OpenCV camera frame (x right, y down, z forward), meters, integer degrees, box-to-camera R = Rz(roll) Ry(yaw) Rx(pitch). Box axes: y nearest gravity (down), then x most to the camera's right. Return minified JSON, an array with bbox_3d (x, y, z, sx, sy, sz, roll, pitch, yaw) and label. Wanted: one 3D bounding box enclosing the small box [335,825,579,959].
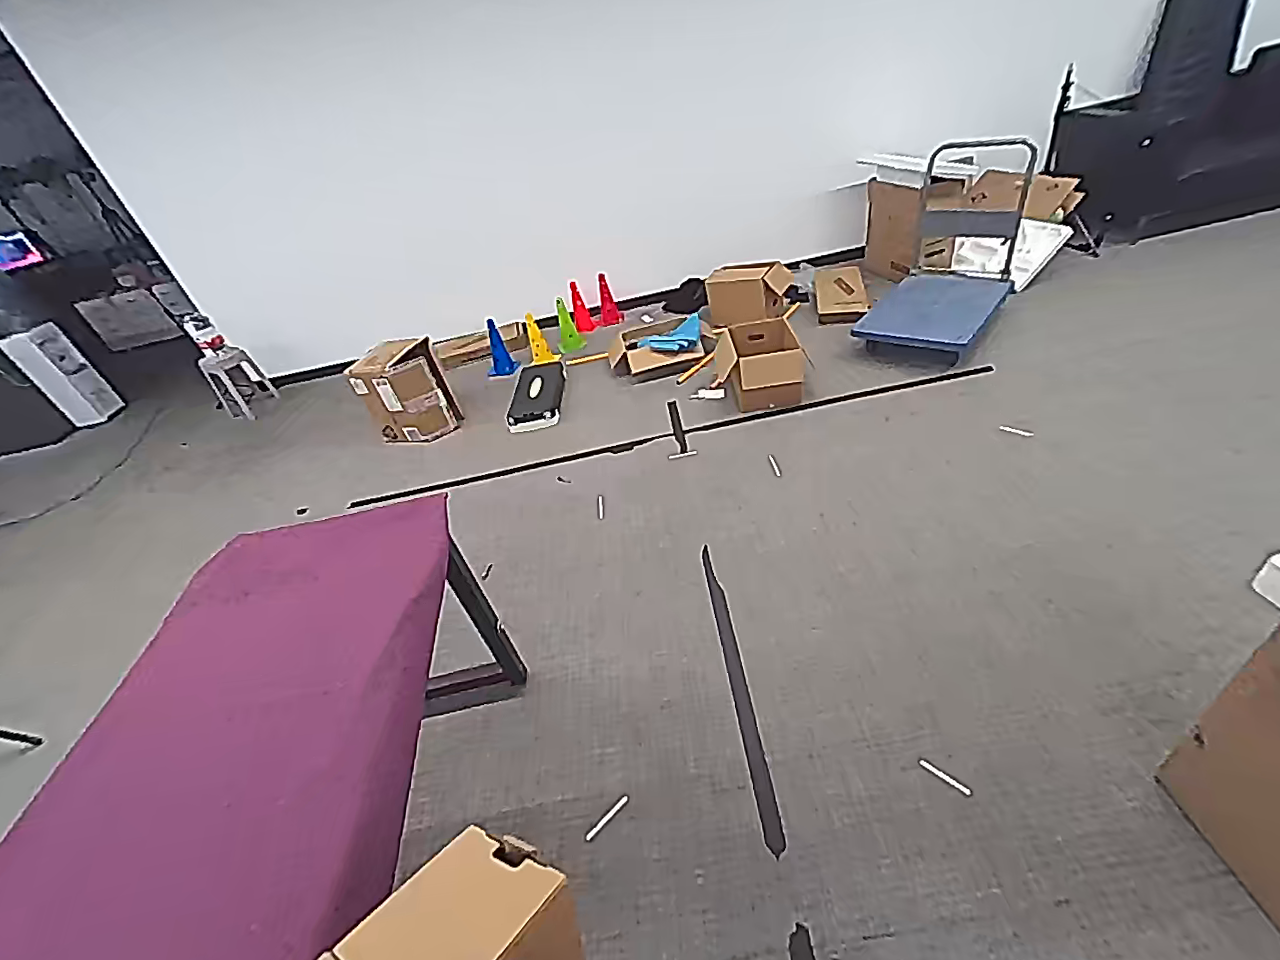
[{"bbox_3d":[-0.178,0.521,0.568,0.168,0.176,0.179,-2,11,36],"label":"small box"}]
